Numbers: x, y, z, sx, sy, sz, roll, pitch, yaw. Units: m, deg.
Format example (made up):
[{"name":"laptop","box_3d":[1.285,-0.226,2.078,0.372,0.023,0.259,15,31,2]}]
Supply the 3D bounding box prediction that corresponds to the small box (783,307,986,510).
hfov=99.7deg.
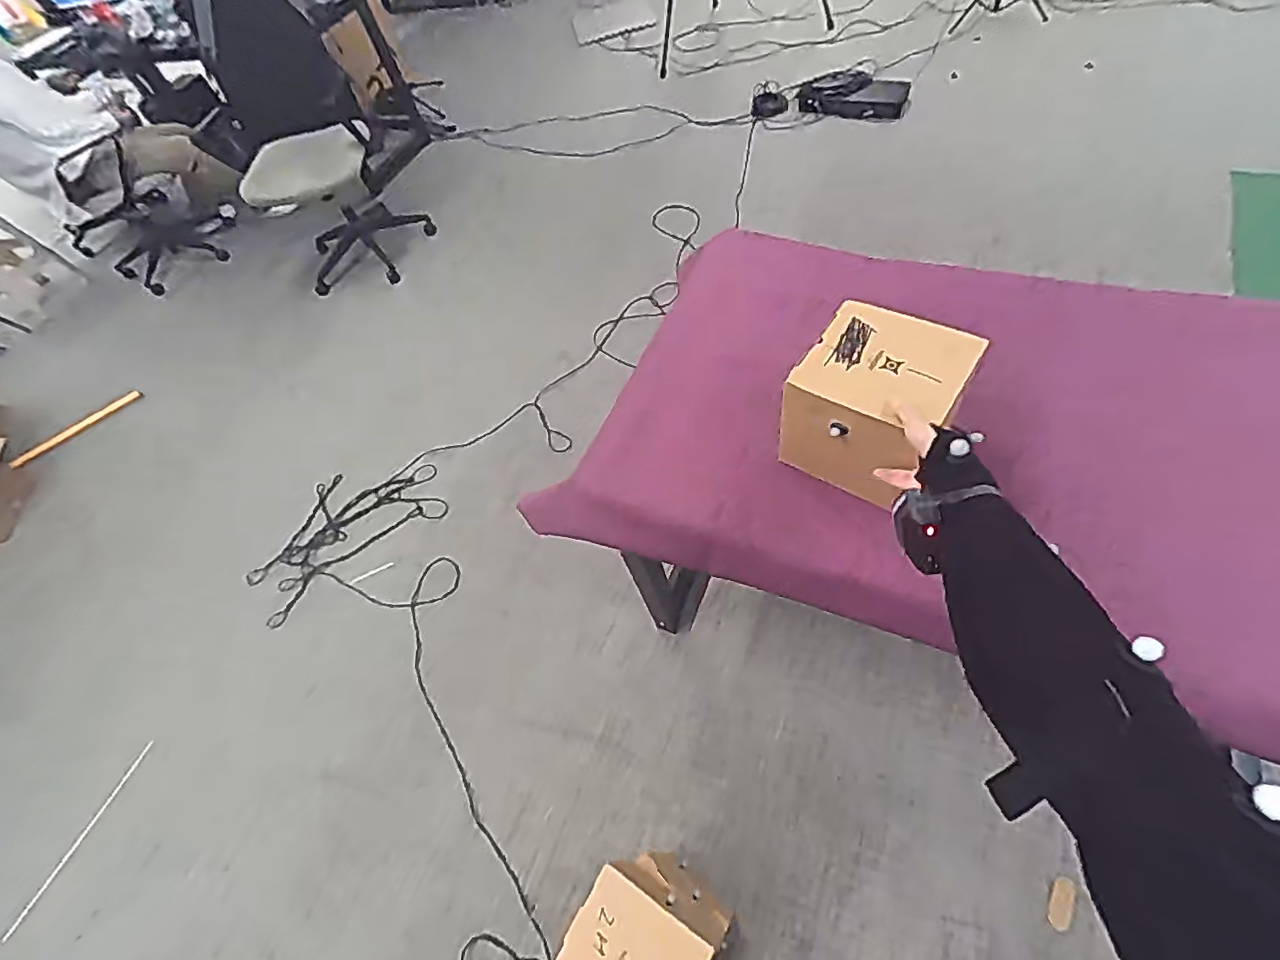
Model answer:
[{"name":"small box","box_3d":[0.300,-0.088,0.703,0.179,0.176,0.168,29,67,26]}]

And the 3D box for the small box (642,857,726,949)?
[{"name":"small box","box_3d":[0.049,0.850,1.021,0.168,0.176,0.179,31,69,28]}]

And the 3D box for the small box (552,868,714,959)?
[{"name":"small box","box_3d":[-0.009,0.674,0.752,0.179,0.176,0.168,23,63,26]}]
